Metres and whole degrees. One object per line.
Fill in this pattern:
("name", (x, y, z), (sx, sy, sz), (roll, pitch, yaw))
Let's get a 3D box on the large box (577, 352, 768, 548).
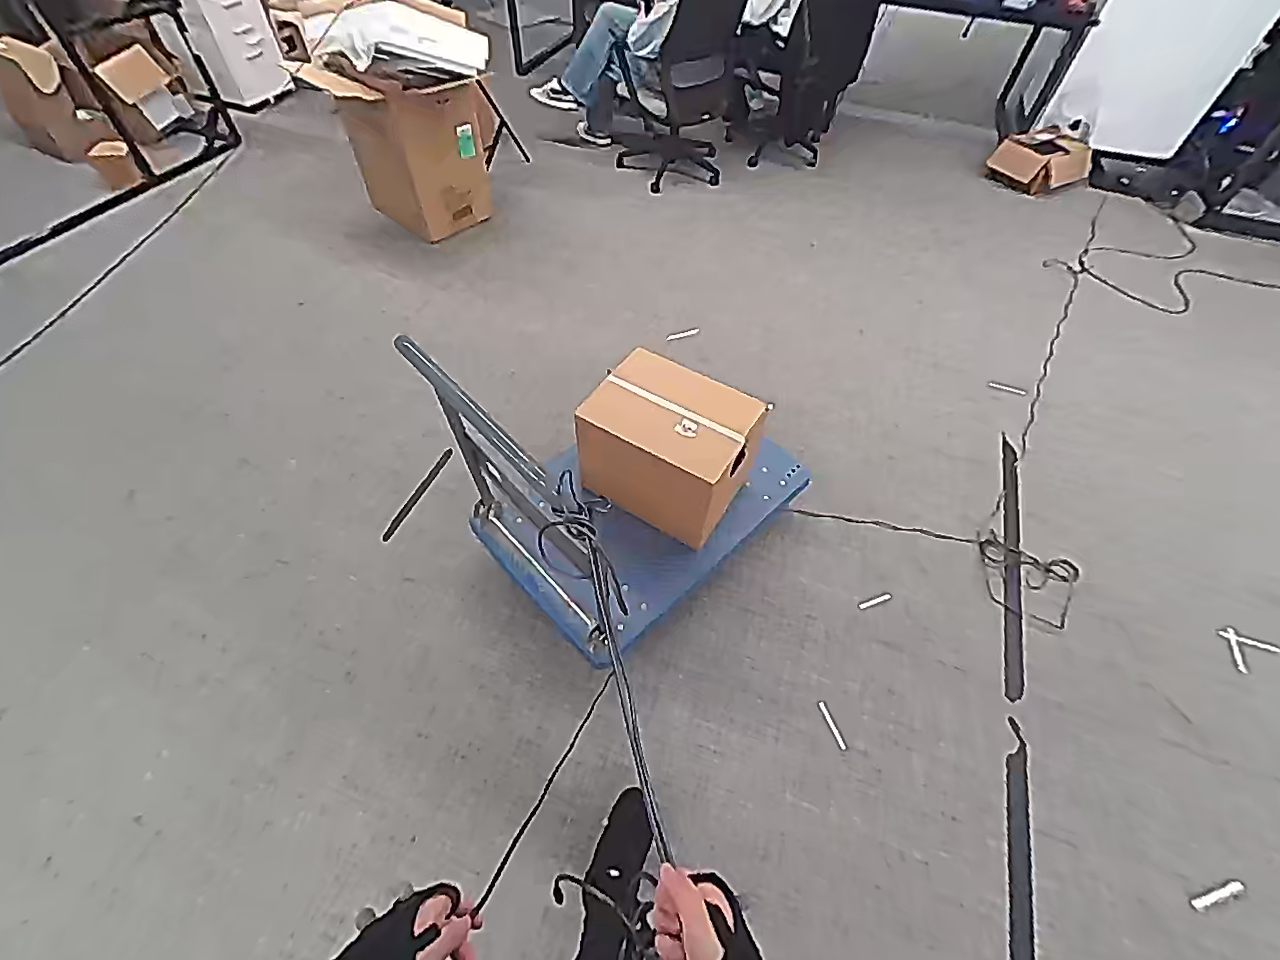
("large box", (0.077, -0.084, 1.493), (0.408, 0.320, 0.320), (28, 58, 17))
